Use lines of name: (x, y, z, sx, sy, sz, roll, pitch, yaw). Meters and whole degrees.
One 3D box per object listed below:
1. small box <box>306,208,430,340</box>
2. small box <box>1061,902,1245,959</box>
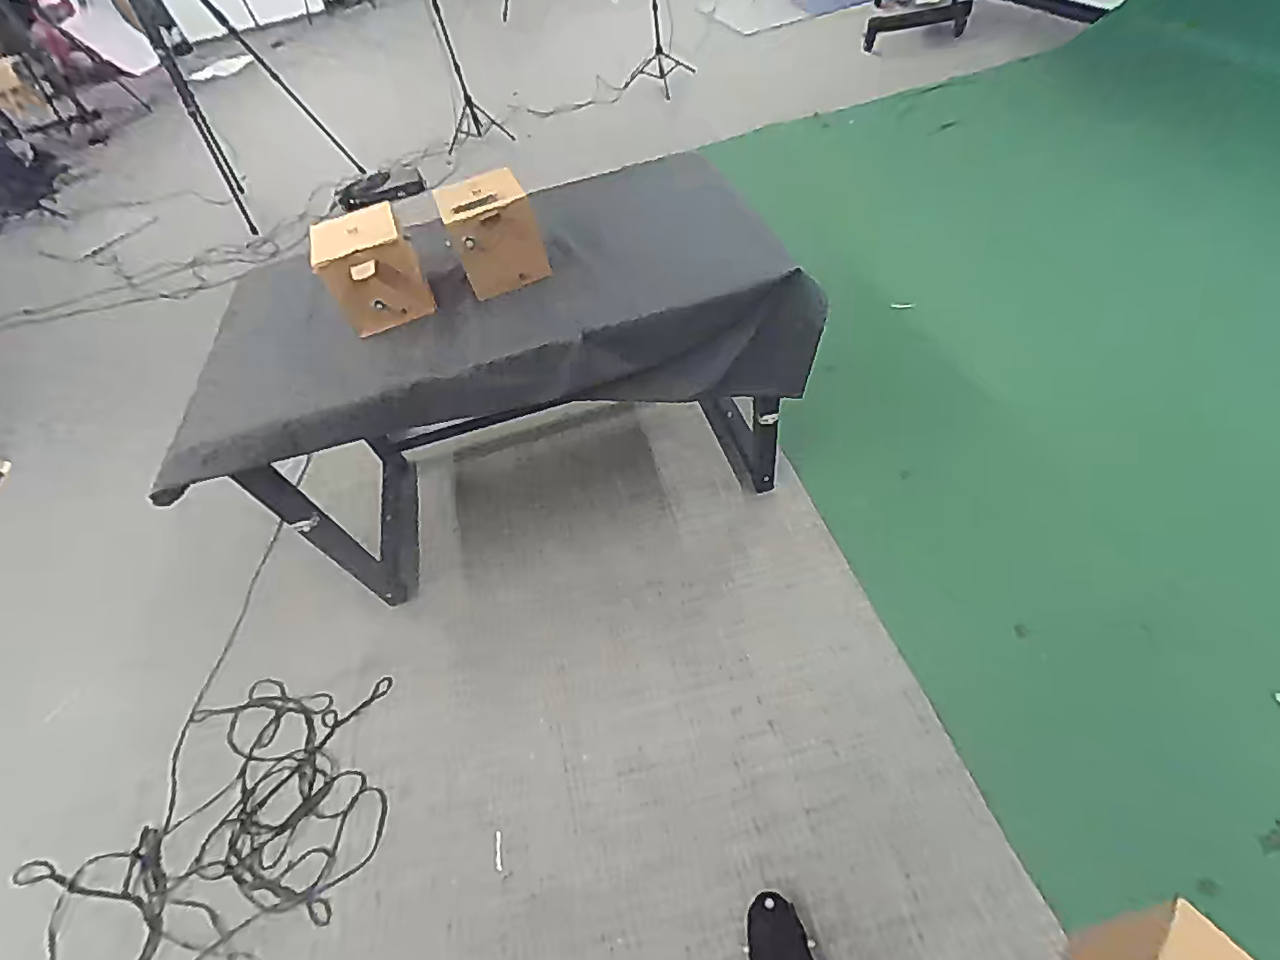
small box: (-0.551, -0.419, 1.104, 0.168, 0.176, 0.179, -23, 53, -8)
small box: (0.501, 0.550, 0.496, 0.179, 0.176, 0.168, -21, 50, -32)
